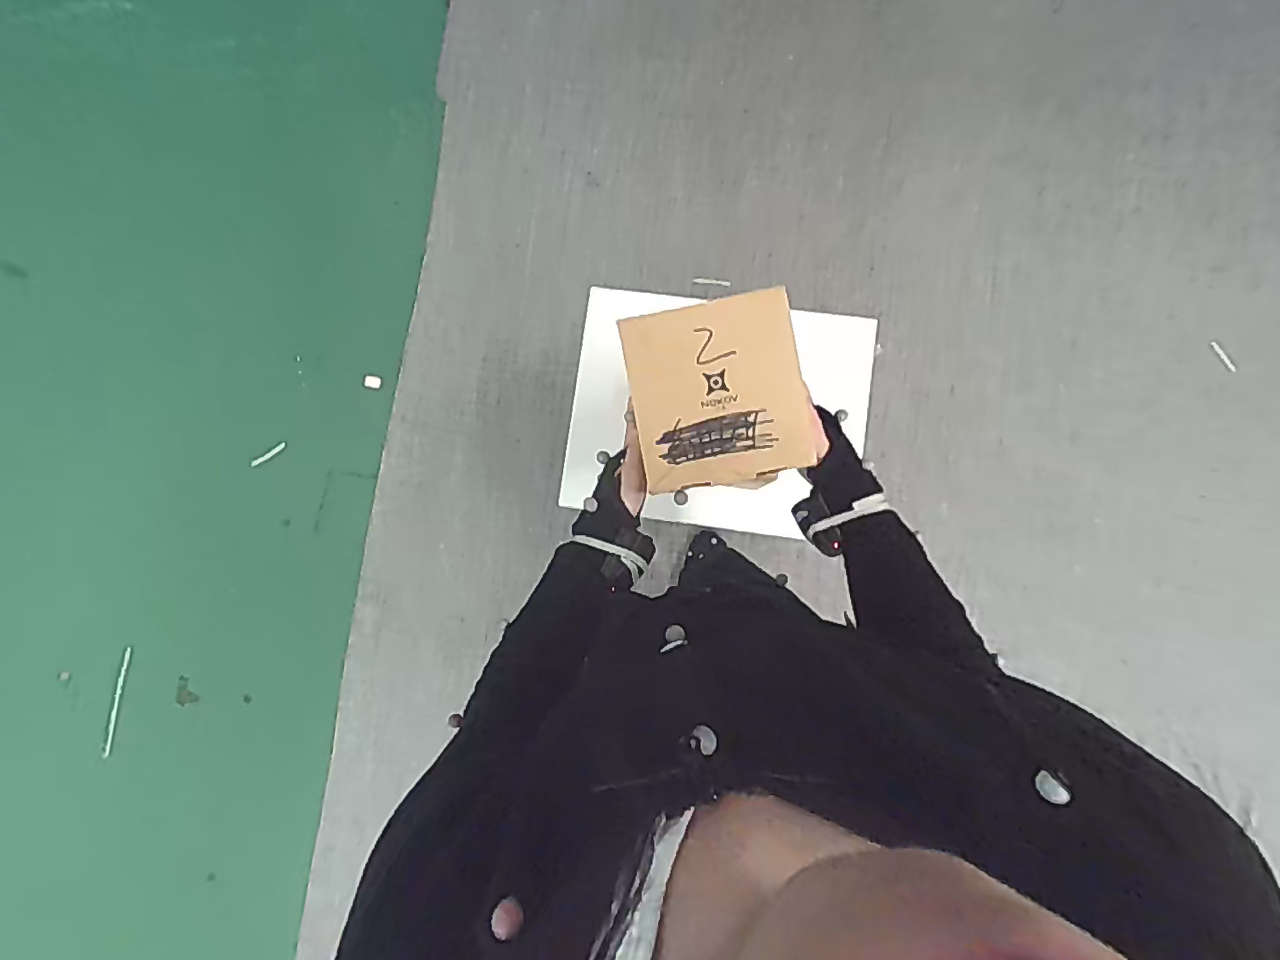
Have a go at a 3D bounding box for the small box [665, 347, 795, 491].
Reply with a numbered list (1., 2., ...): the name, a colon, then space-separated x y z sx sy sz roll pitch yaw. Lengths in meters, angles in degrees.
1. small box: 0.129 -0.085 0.833 0.168 0.176 0.179 7 84 4
